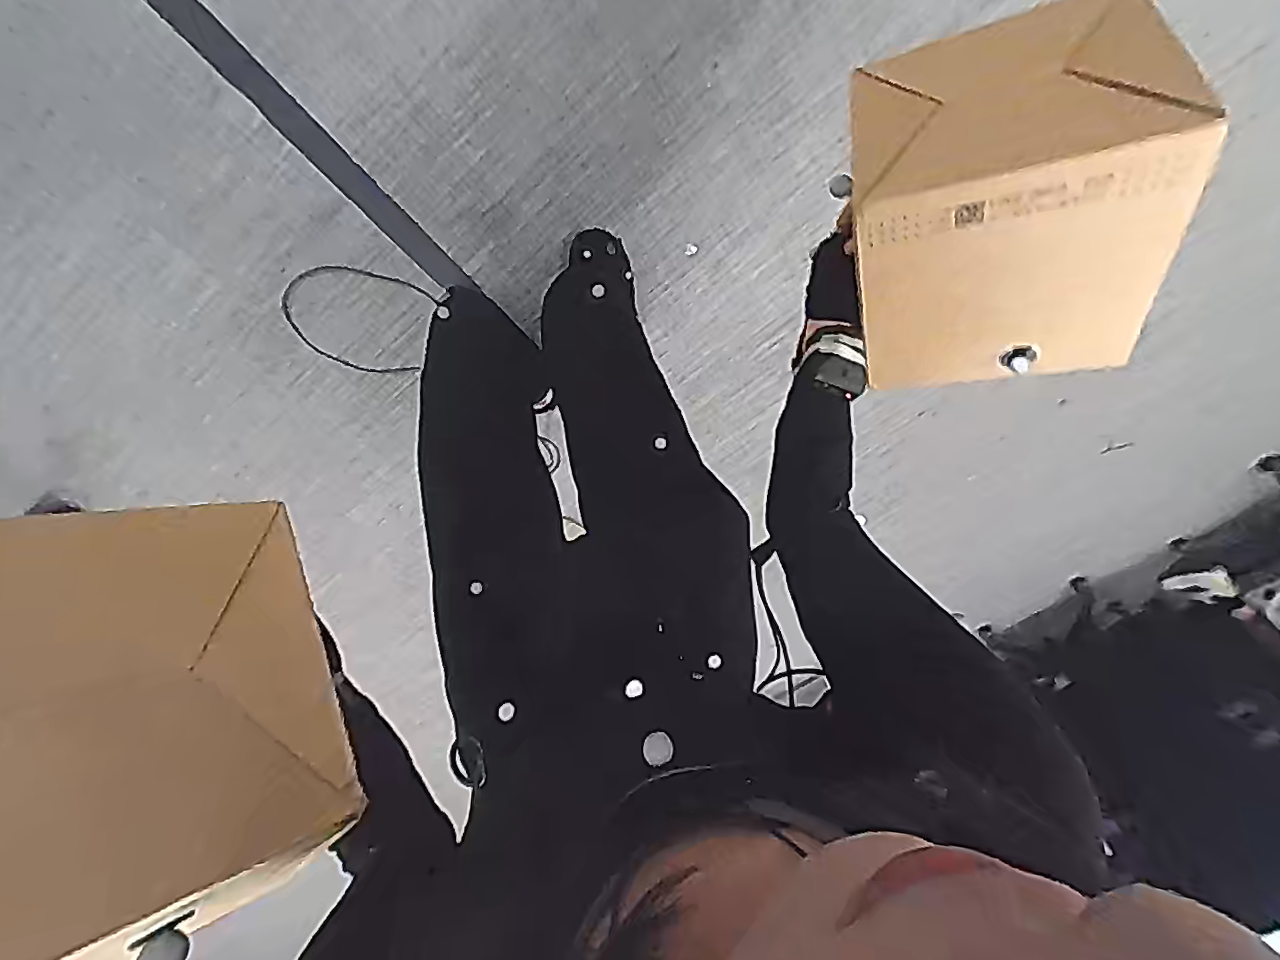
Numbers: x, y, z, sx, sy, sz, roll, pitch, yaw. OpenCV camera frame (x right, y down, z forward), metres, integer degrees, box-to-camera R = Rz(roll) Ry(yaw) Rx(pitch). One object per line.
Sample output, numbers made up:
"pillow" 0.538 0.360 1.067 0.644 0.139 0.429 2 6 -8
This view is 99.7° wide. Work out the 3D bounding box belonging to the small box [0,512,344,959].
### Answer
"small box" -0.262 0.133 0.256 0.168 0.179 0.176 -6 148 -45
